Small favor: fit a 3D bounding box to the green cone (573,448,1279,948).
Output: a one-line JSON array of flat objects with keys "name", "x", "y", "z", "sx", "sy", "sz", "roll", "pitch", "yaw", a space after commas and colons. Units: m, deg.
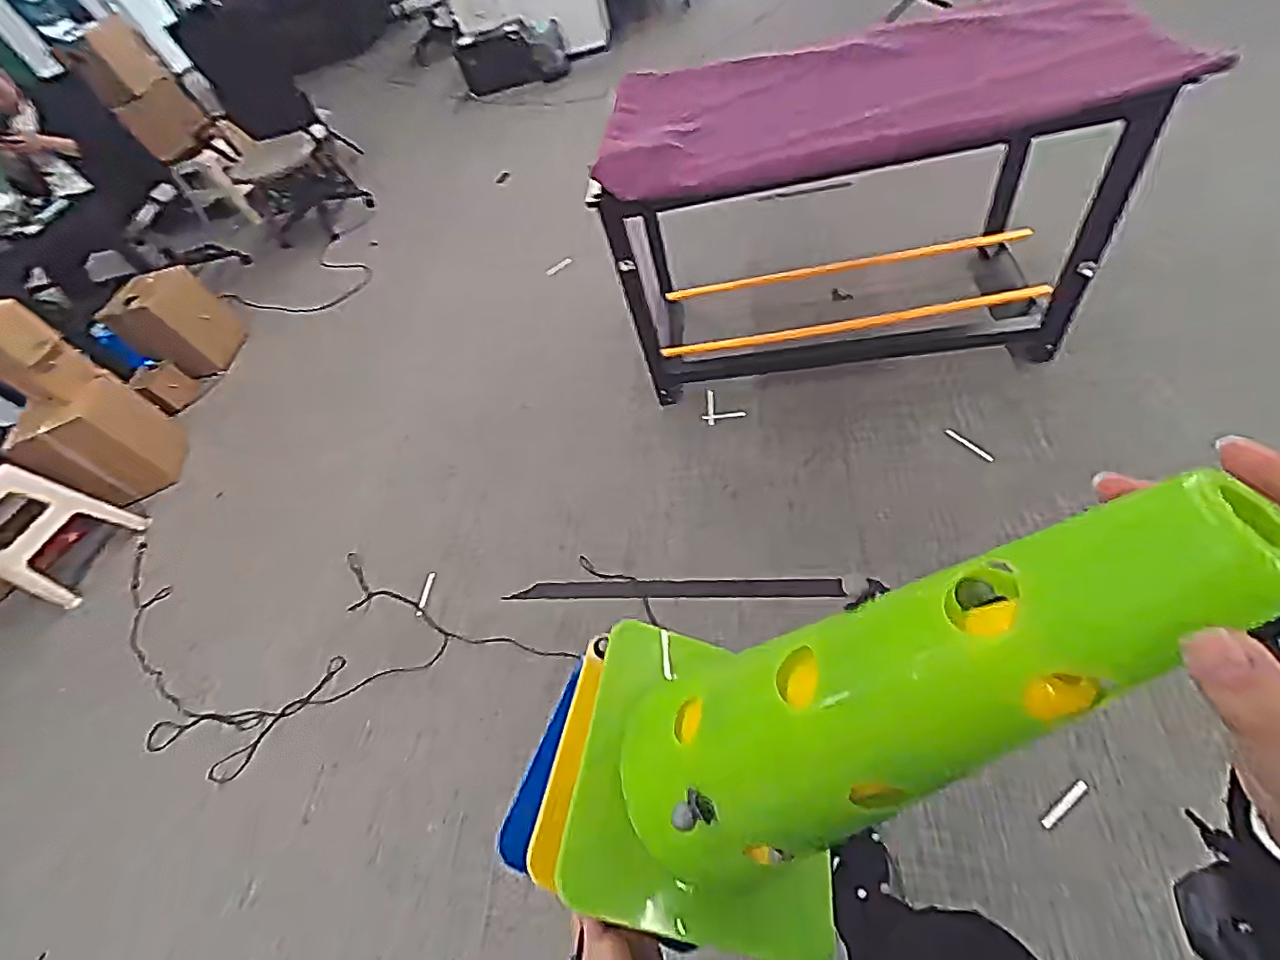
[{"name": "green cone", "x": 0.119, "y": 0.105, "z": 0.276, "sx": 0.200, "sy": 0.368, "sz": 0.202, "roll": 20, "pitch": 49, "yaw": -8}]
